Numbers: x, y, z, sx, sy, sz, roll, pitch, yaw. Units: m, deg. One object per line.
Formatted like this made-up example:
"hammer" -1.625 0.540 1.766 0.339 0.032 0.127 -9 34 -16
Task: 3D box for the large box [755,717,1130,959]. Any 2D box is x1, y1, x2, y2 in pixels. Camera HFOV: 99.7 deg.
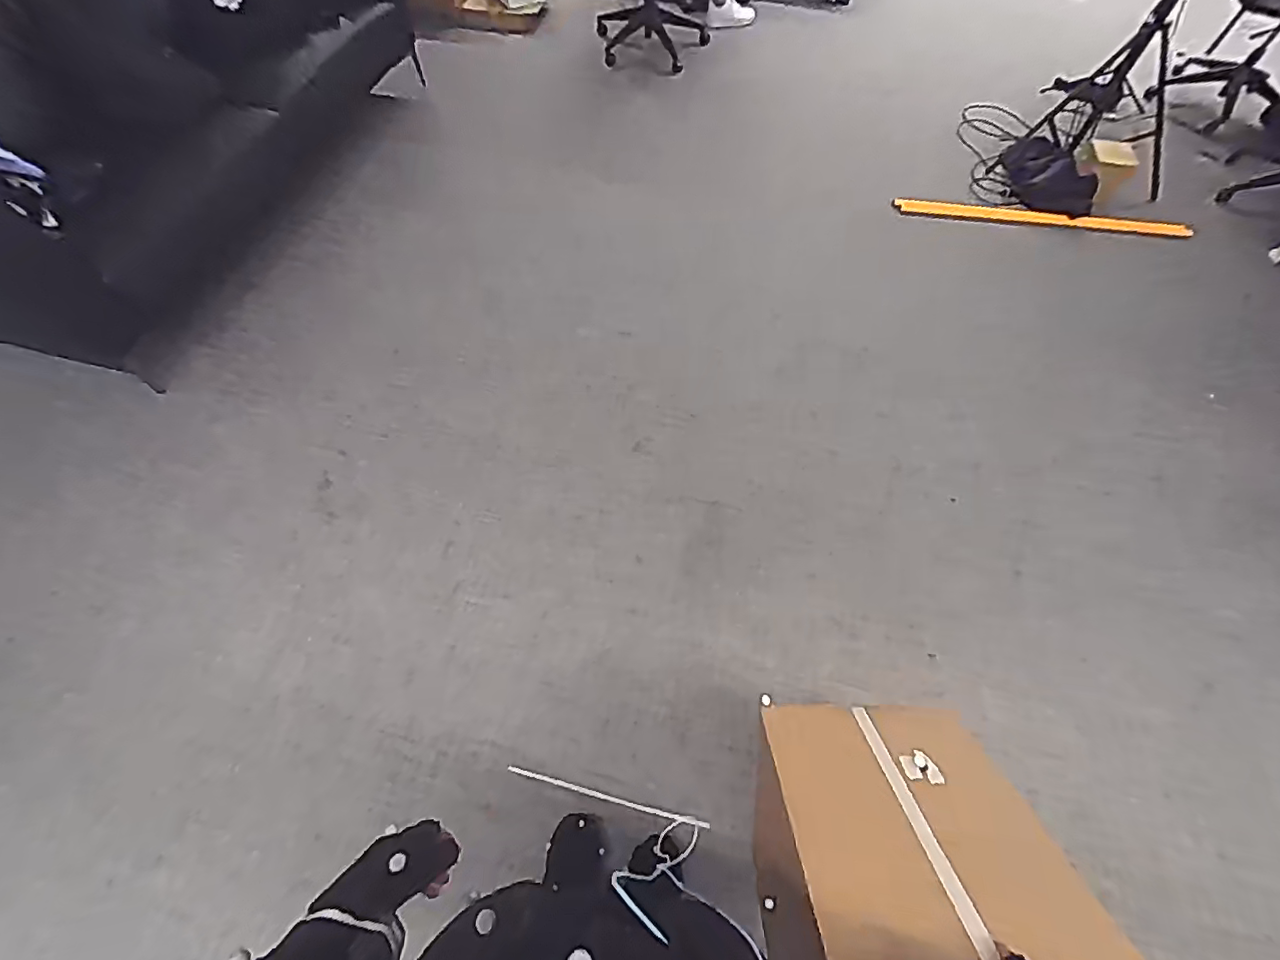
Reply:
"large box" 0.349 0.593 0.741 0.320 0.408 0.320 2 103 2
